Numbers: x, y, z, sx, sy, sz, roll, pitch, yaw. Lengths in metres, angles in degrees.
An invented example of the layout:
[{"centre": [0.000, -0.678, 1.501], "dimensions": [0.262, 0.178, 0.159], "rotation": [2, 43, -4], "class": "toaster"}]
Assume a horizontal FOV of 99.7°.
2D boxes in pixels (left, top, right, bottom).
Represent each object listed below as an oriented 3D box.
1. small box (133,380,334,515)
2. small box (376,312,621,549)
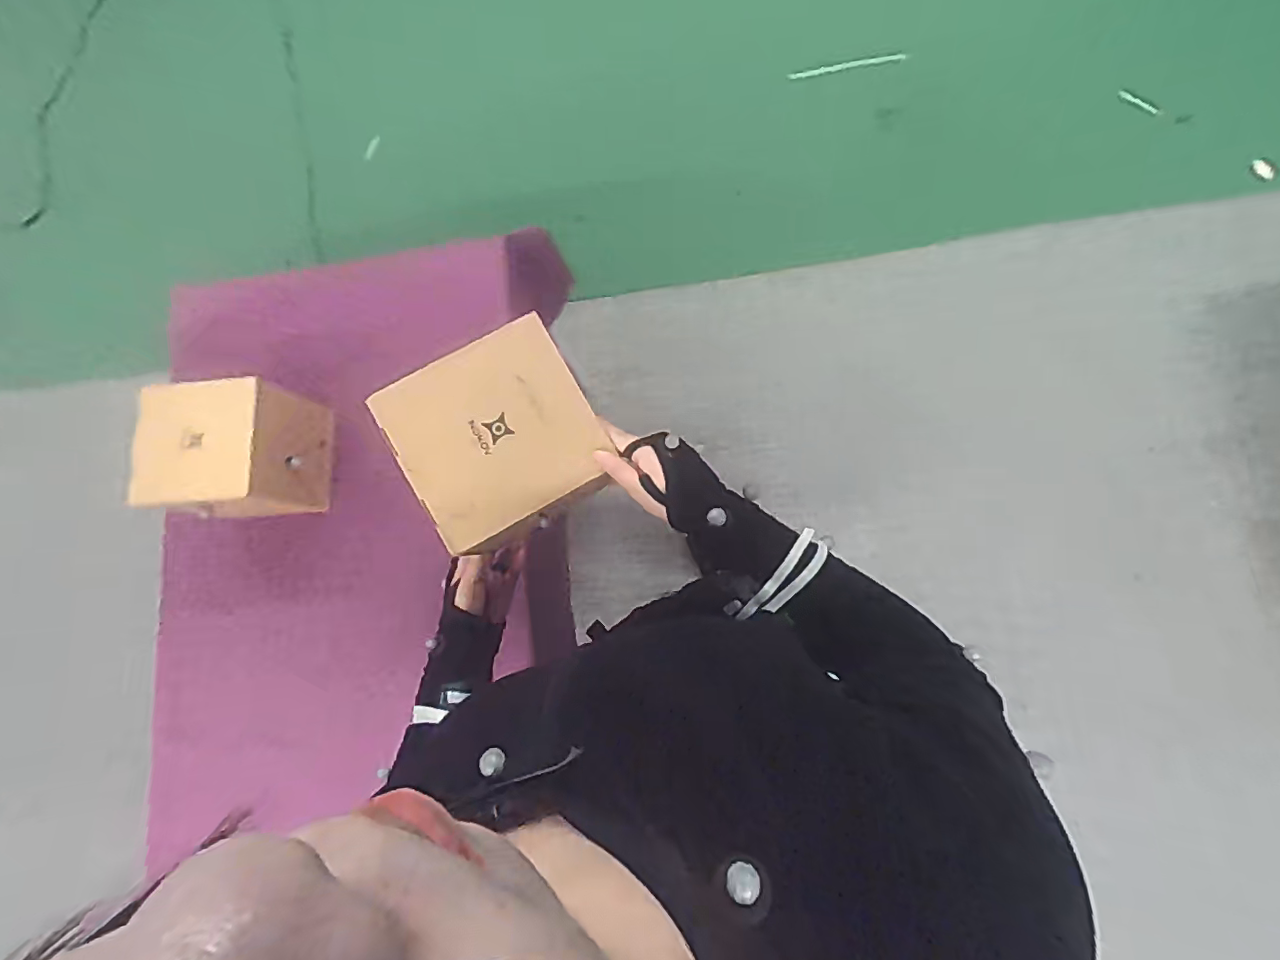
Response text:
[{"centre": [-0.588, -0.039, 0.806], "dimensions": [0.179, 0.176, 0.168], "rotation": [-4, 80, 6], "class": "small box"}, {"centre": [-0.131, -0.038, 0.568], "dimensions": [0.179, 0.176, 0.168], "rotation": [-28, 87, -6], "class": "small box"}]
